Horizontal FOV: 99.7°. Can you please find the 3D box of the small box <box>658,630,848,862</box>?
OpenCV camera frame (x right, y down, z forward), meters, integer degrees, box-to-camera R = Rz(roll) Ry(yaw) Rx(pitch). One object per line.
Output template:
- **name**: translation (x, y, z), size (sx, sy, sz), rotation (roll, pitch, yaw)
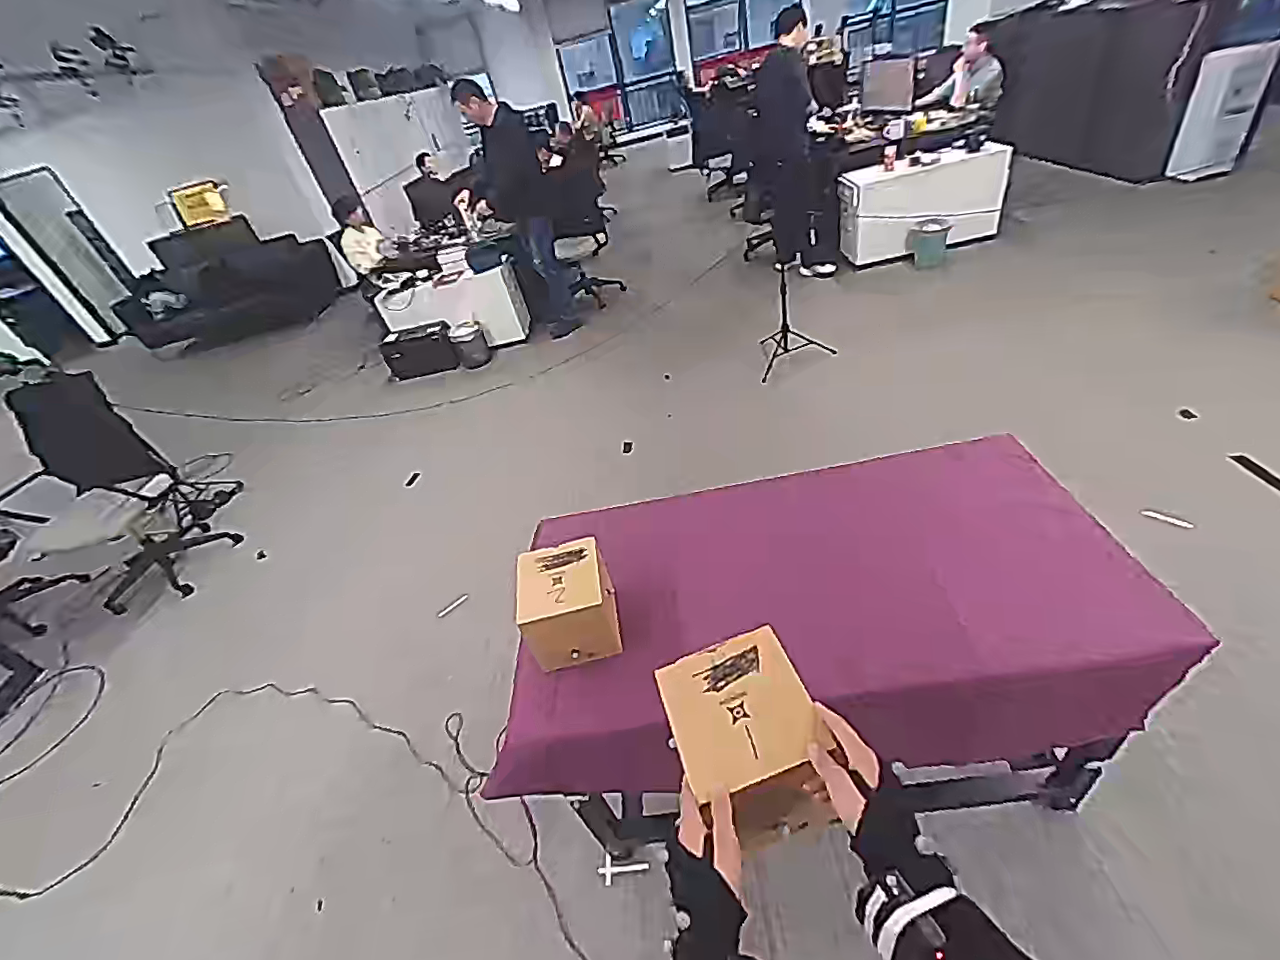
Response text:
- **small box**: translation (0.139, 0.329, 0.677), size (0.168, 0.176, 0.179), rotation (-23, 35, -1)
